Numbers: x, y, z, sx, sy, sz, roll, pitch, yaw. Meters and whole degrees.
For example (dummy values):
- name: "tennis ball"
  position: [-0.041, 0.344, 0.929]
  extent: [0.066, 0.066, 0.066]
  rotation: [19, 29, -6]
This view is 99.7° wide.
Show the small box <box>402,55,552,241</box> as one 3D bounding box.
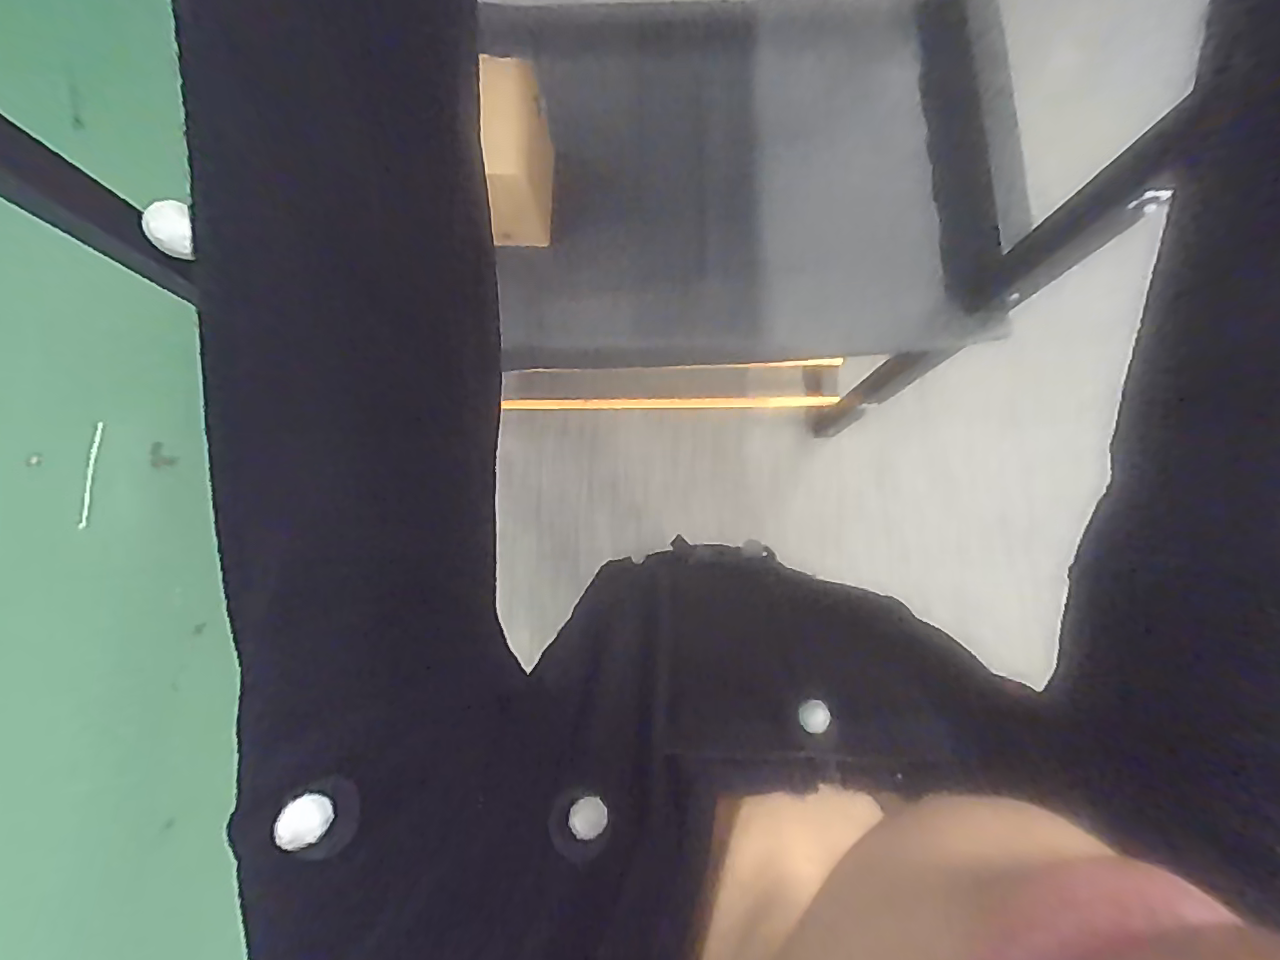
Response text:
- name: "small box"
  position: [-0.226, -0.473, 0.793]
  extent: [0.168, 0.176, 0.179]
  rotation: [1, 81, 1]
